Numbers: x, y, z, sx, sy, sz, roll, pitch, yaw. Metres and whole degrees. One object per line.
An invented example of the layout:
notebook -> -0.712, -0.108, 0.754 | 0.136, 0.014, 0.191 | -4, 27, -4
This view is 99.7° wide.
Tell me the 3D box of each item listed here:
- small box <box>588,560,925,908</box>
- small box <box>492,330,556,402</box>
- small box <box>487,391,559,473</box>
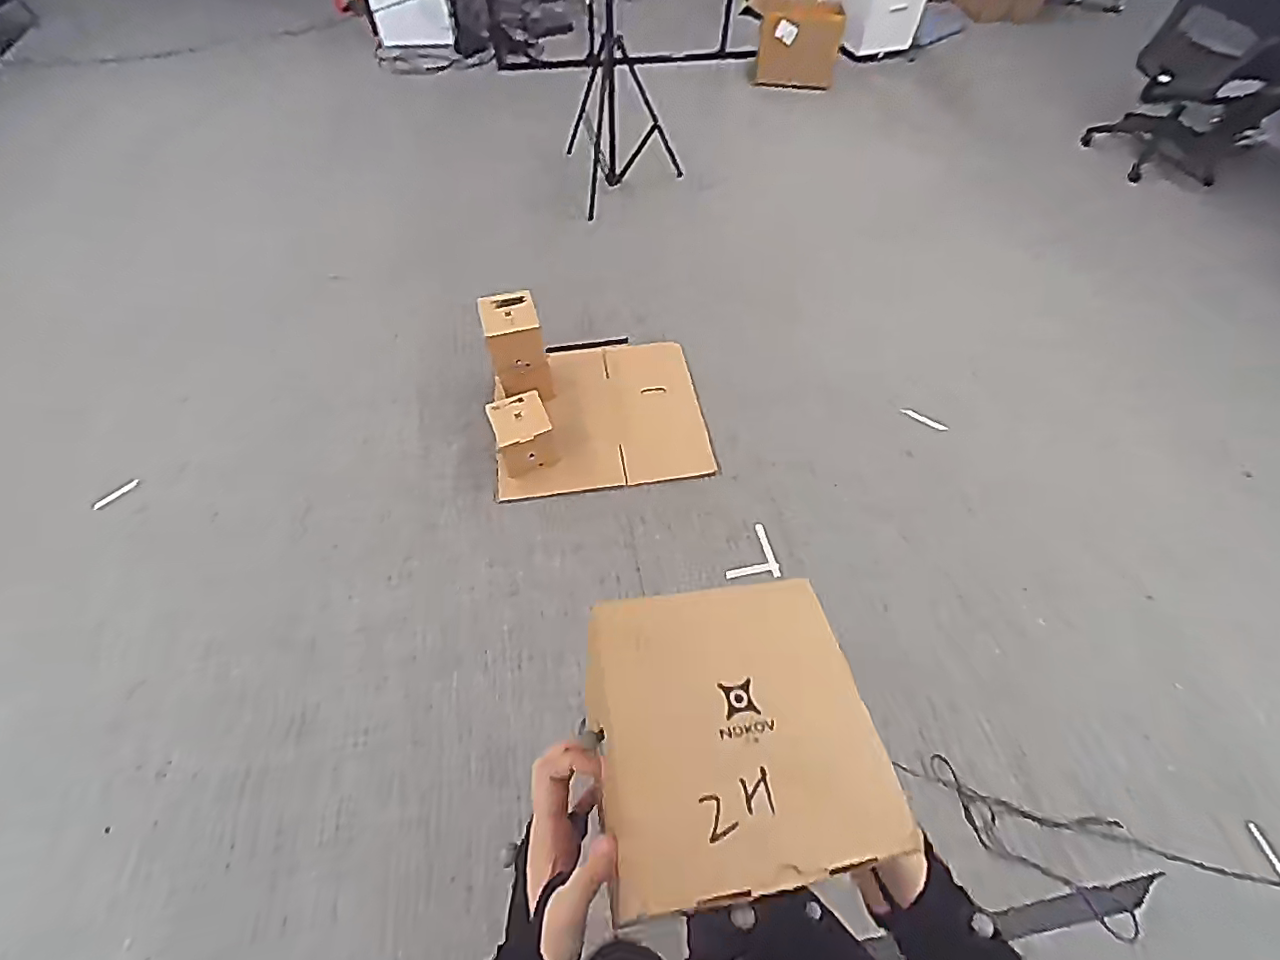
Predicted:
small box -> 0.055, 0.183, 0.394 | 0.168, 0.176, 0.179 | -6, 51, -12
small box -> -0.393, -0.375, 1.840 | 0.168, 0.176, 0.179 | -16, 59, -10
small box -> -0.361, -0.142, 1.687 | 0.168, 0.176, 0.179 | -19, 60, -13
